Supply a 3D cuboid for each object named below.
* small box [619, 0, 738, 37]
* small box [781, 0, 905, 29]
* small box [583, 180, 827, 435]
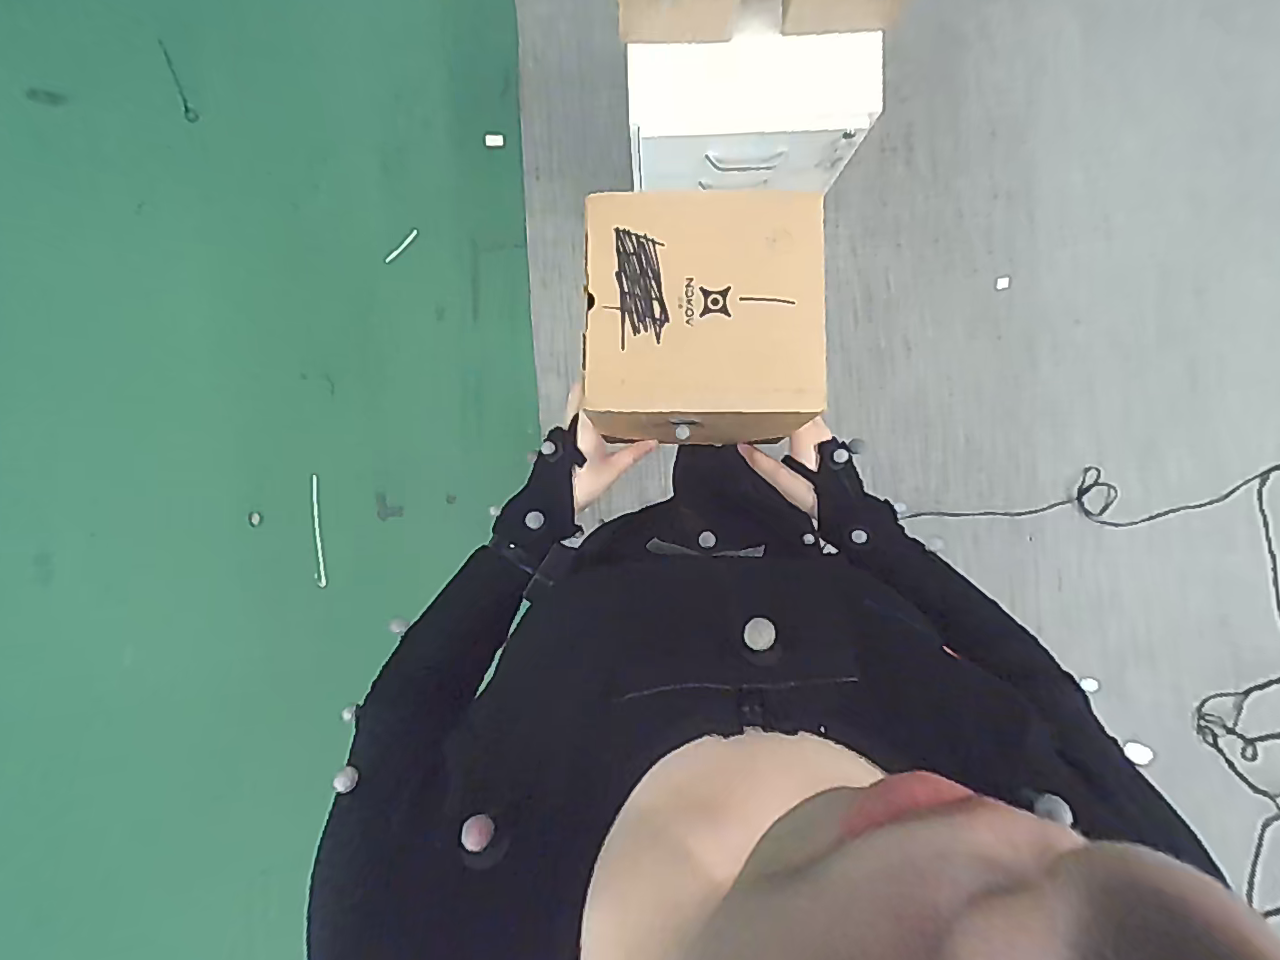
[{"bbox_3d":[0.055,-0.755,0.746,0.179,0.176,0.168,0,95,1],"label":"small box"},{"bbox_3d":[0.300,-0.765,0.741,0.179,0.176,0.168,0,93,3],"label":"small box"},{"bbox_3d":[0.050,-0.132,0.470,0.179,0.176,0.168,1,87,2],"label":"small box"}]
